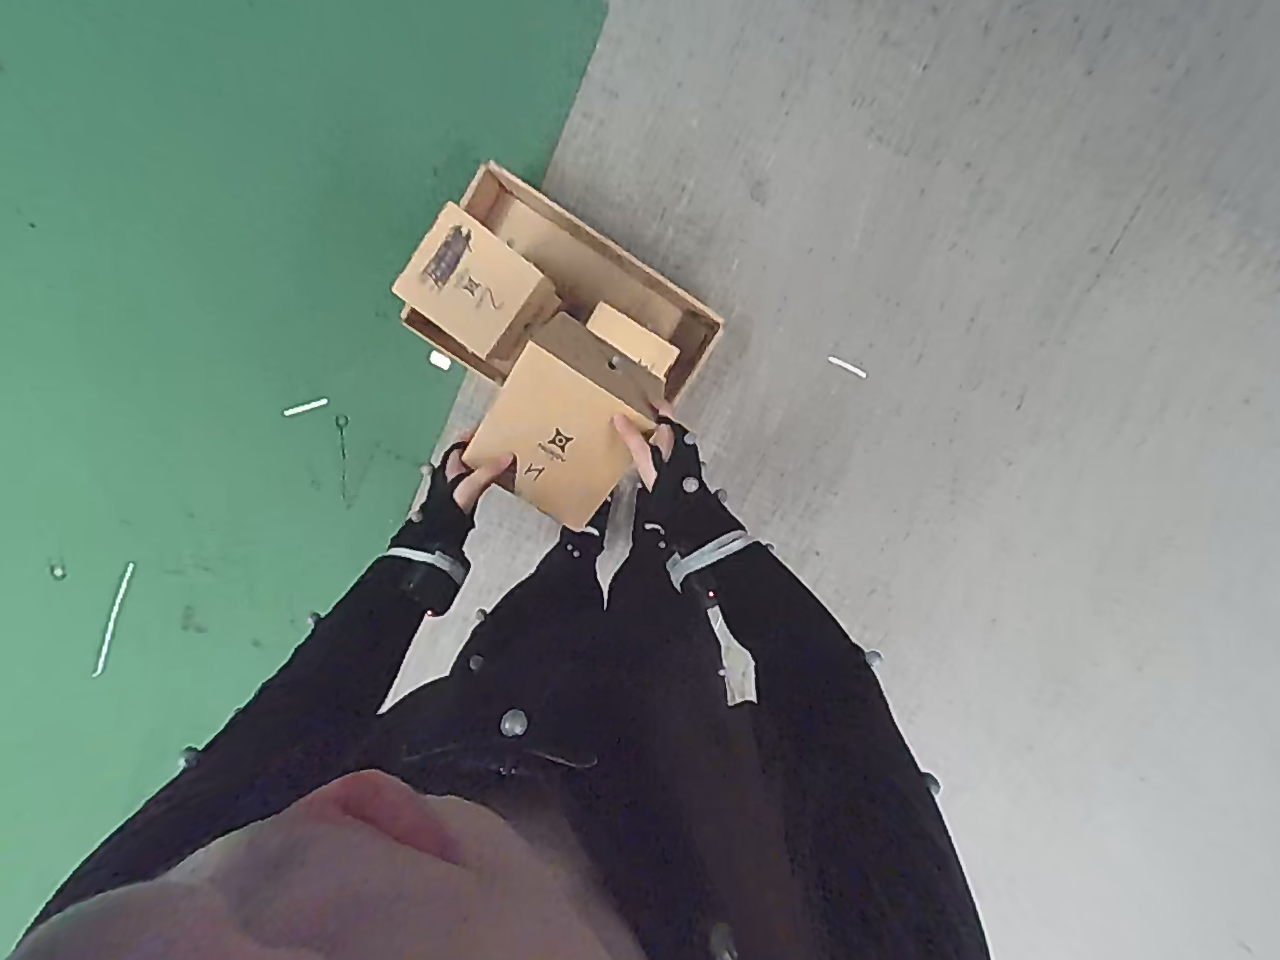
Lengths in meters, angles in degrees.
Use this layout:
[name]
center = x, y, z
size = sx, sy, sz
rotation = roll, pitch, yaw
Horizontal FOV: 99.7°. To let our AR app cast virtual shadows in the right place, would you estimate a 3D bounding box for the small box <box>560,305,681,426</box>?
[small box]
center = -0.034, -0.230, 1.093
size = 0.179, 0.176, 0.168
rotation = 31, 100, -4
